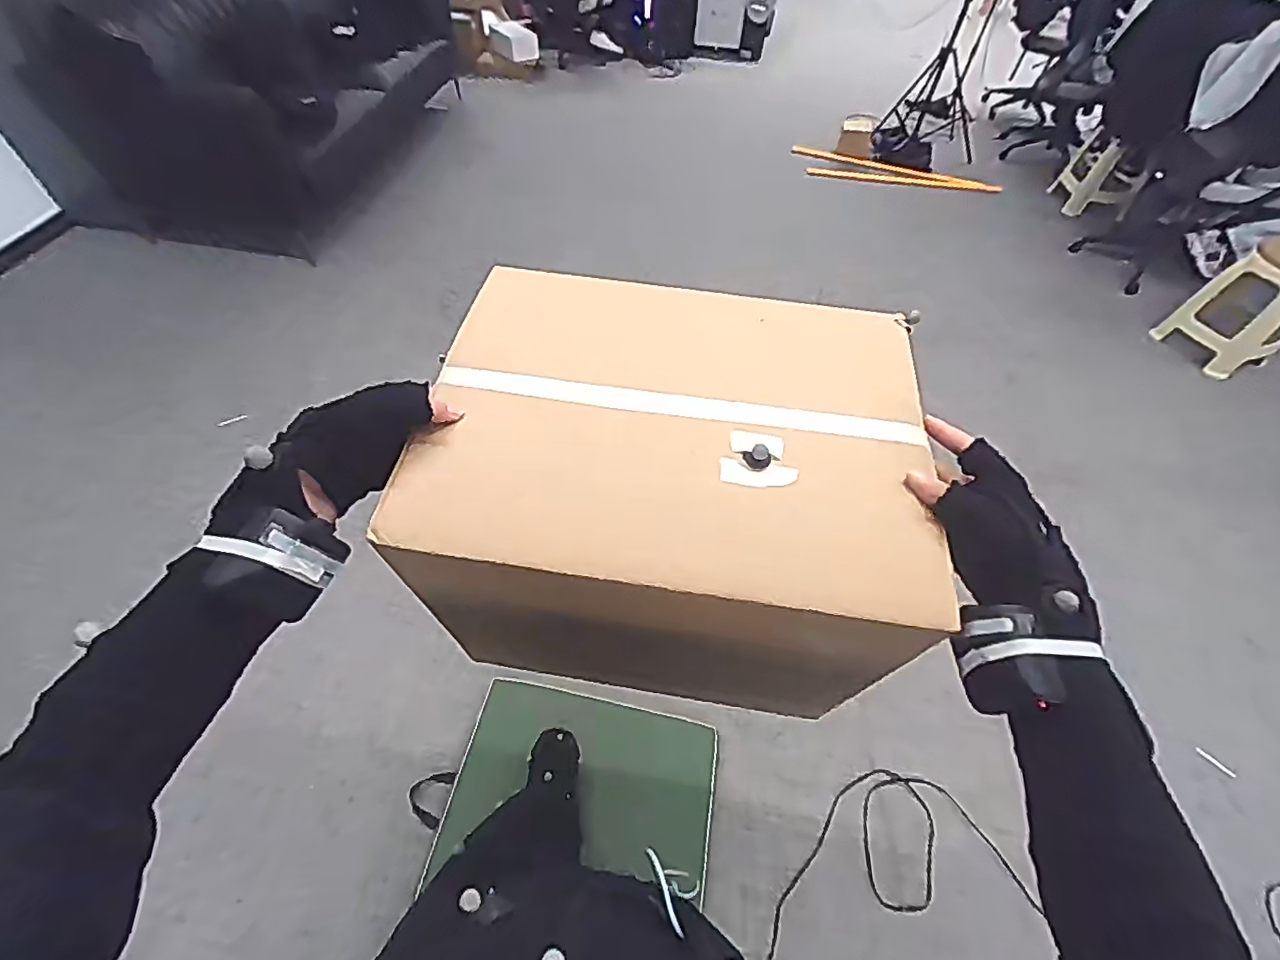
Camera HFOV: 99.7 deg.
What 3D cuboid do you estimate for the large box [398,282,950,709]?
[{"bbox_3d":[0.031,0.029,0.585,0.408,0.320,0.320,9,57,3],"label":"large box"}]
